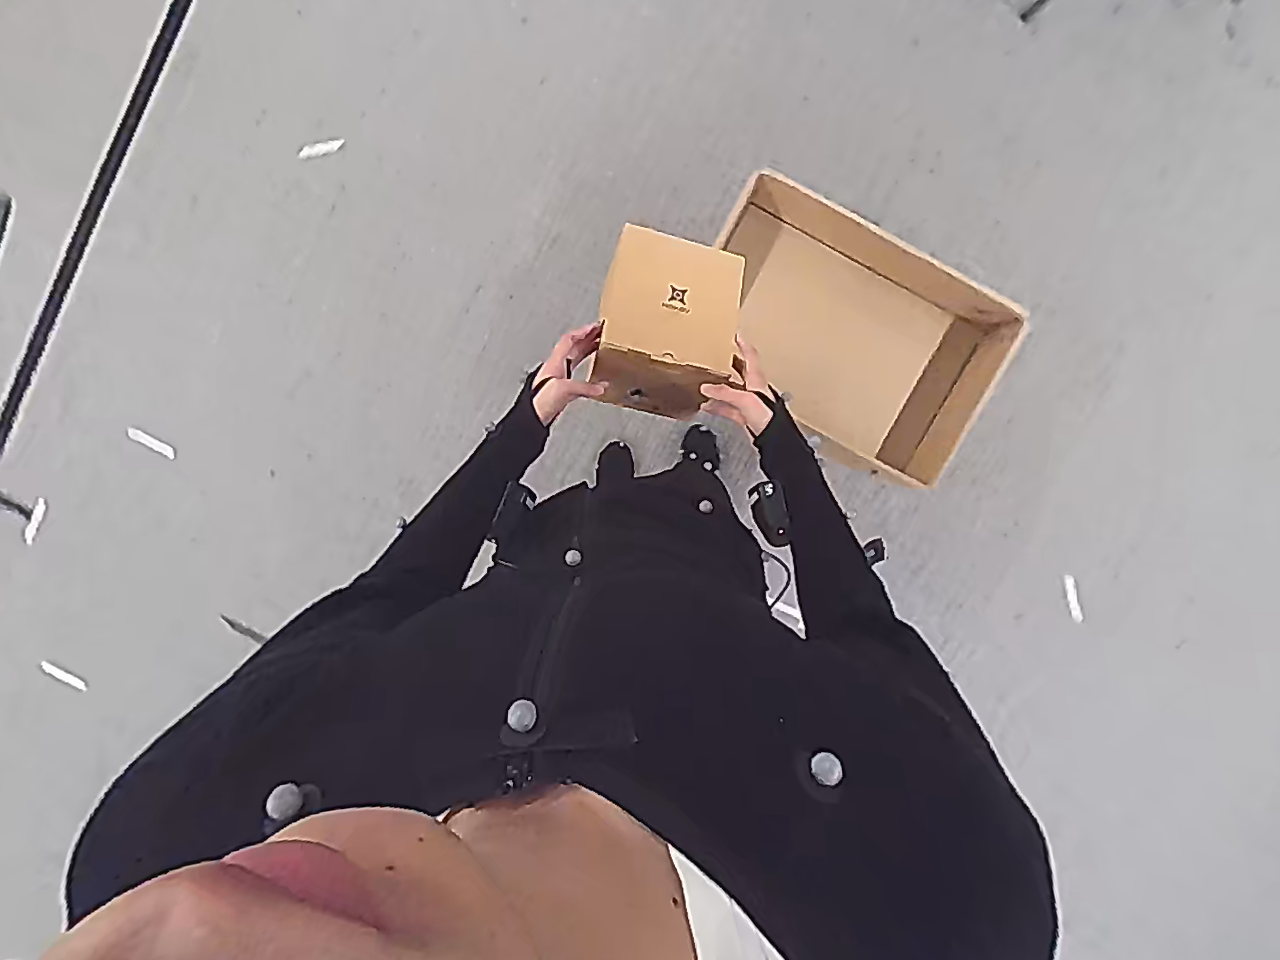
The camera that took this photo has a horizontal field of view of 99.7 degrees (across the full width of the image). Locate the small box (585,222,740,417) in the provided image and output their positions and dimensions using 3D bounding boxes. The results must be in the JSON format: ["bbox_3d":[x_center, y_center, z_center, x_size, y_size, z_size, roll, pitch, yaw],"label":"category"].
[{"bbox_3d":[0.024,-0.208,0.744,0.168,0.176,0.179,11,75,-10],"label":"small box"}]
